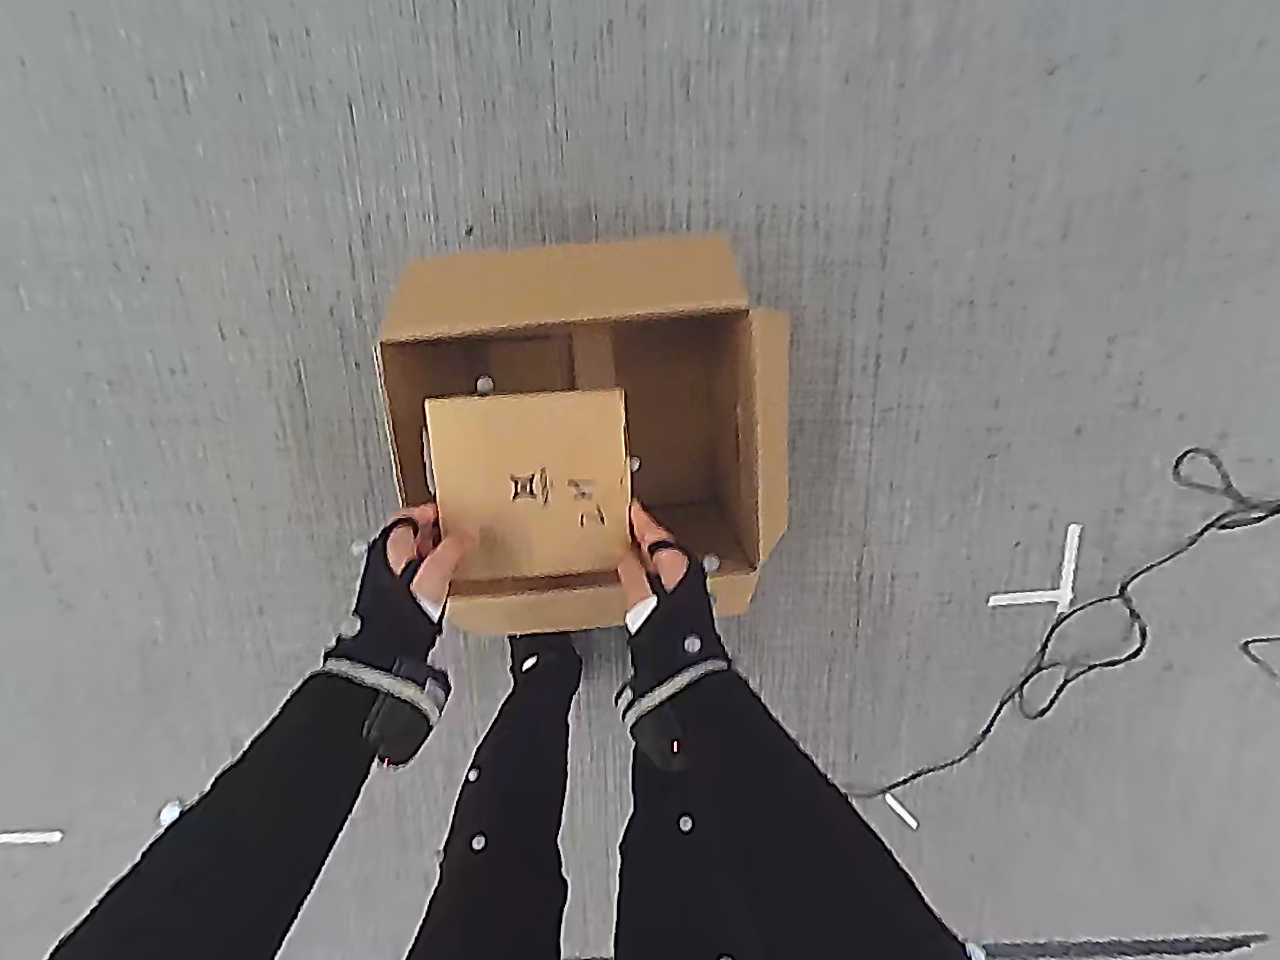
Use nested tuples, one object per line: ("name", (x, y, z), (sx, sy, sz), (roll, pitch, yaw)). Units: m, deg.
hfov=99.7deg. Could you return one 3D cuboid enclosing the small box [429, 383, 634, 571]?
("small box", (-0.099, -0.014, 0.565), (0.179, 0.176, 0.168), (-4, 101, -3))
